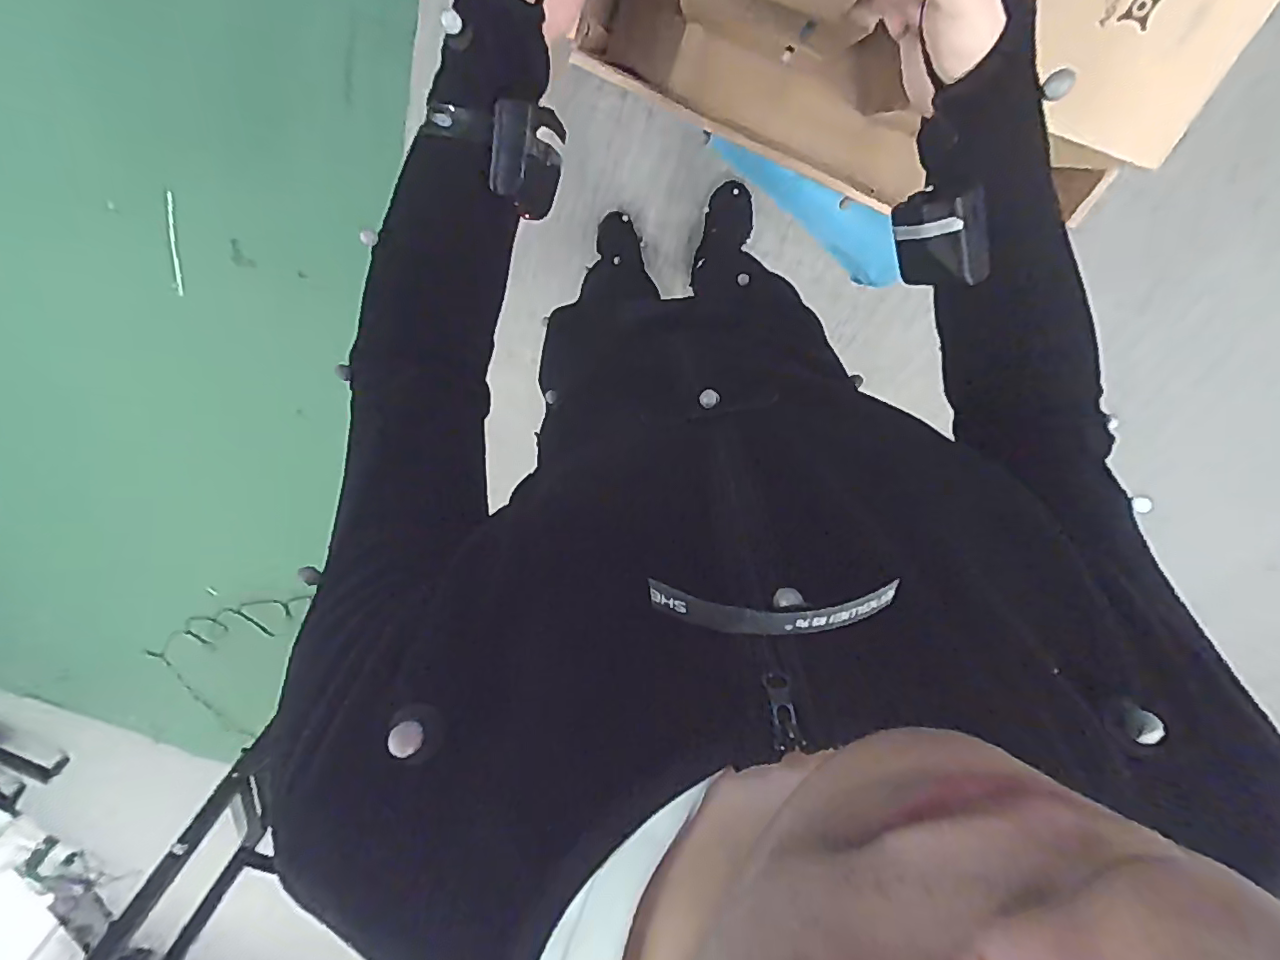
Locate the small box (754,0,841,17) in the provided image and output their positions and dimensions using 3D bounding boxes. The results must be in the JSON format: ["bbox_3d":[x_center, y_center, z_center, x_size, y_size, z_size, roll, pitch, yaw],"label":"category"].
[{"bbox_3d":[0.065,-0.374,0.277,0.179,0.176,0.168,18,124,-2],"label":"small box"}]

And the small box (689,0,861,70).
[{"bbox_3d":[0.156,-0.565,0.570,0.179,0.176,0.168,21,122,-6],"label":"small box"}]

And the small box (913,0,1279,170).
[{"bbox_3d":[0.366,-0.378,0.453,0.179,0.176,0.168,19,123,-2],"label":"small box"}]
